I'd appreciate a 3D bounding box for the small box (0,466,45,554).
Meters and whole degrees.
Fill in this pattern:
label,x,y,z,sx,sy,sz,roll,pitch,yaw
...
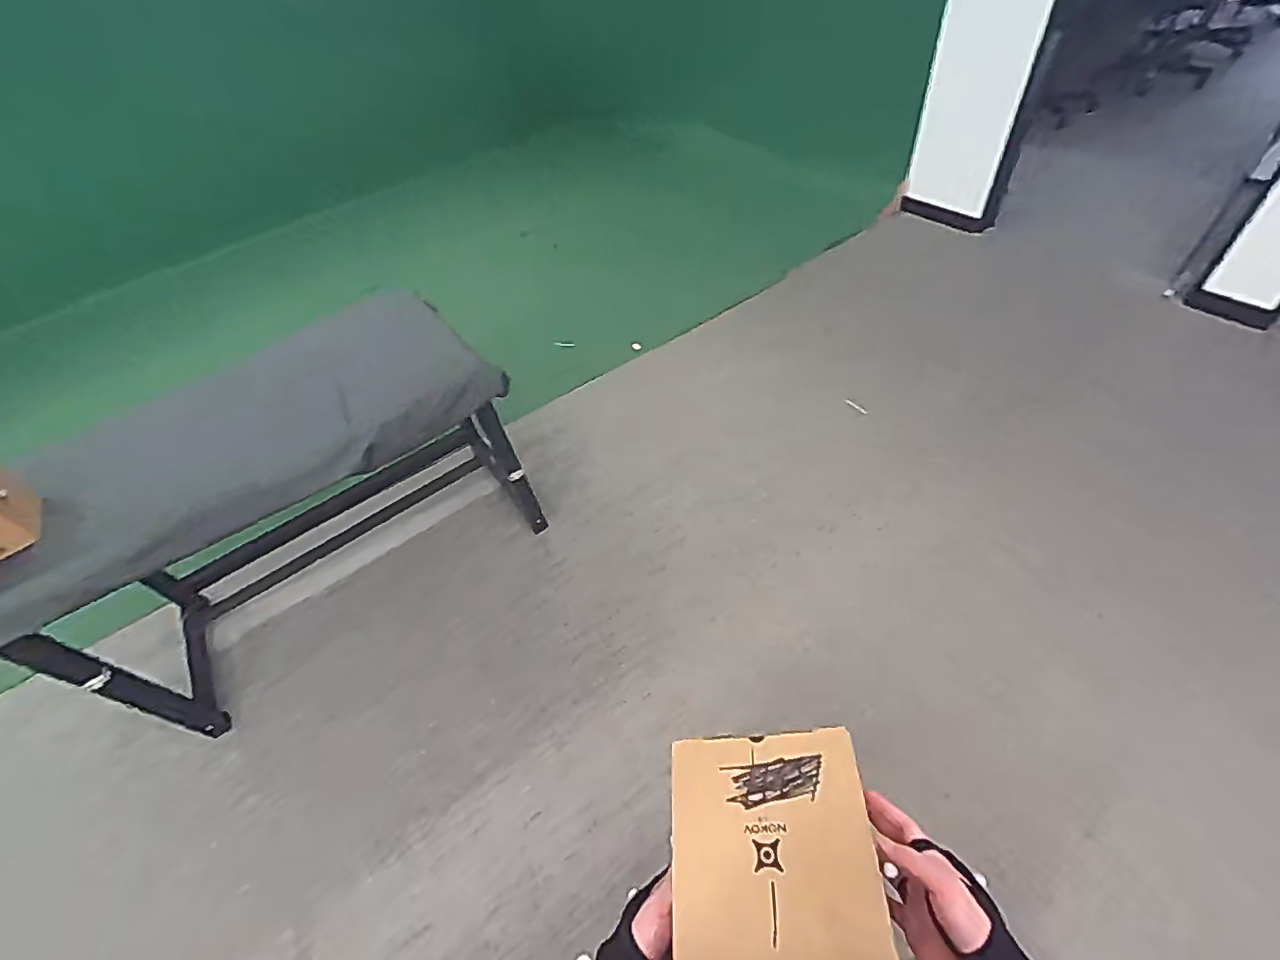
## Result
label,x,y,z,sx,sy,sz,roll,pitch,yaw
small box,-1.458,0.067,1.172,0.168,0.176,0.179,-34,54,-20

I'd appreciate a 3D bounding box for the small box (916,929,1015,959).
label,x,y,z,sx,sy,sz,roll,pitch,yaw
small box,0.638,0.993,1.029,0.179,0.176,0.168,-22,49,-9
